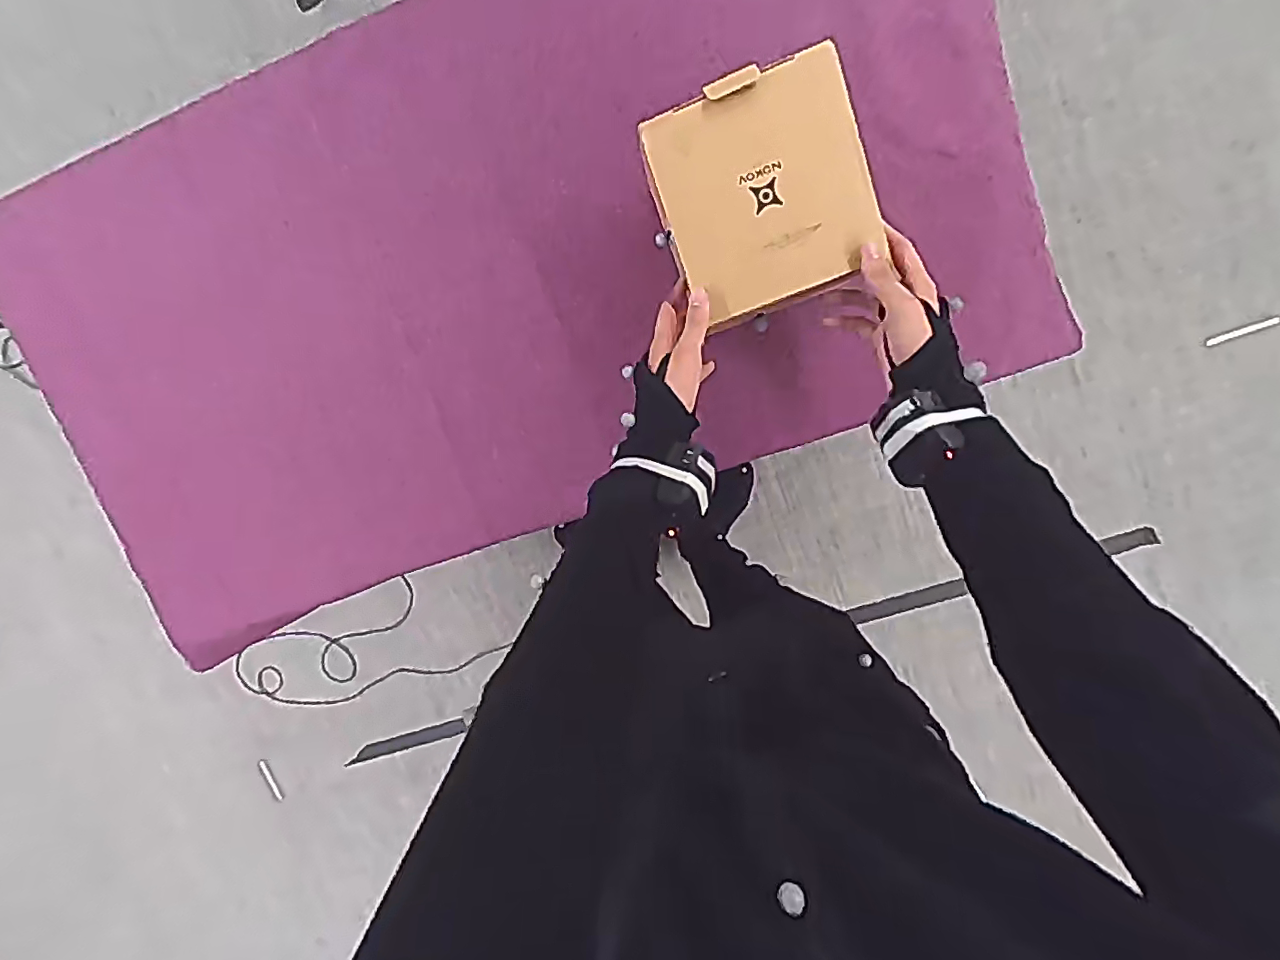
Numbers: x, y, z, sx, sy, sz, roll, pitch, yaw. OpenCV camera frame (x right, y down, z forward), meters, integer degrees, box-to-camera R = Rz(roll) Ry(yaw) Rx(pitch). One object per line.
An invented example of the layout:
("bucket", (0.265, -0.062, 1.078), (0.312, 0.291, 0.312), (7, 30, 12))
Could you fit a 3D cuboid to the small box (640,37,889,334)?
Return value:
("small box", (0.108, -0.253, 0.518), (0.168, 0.176, 0.179), (-18, 99, 9))
